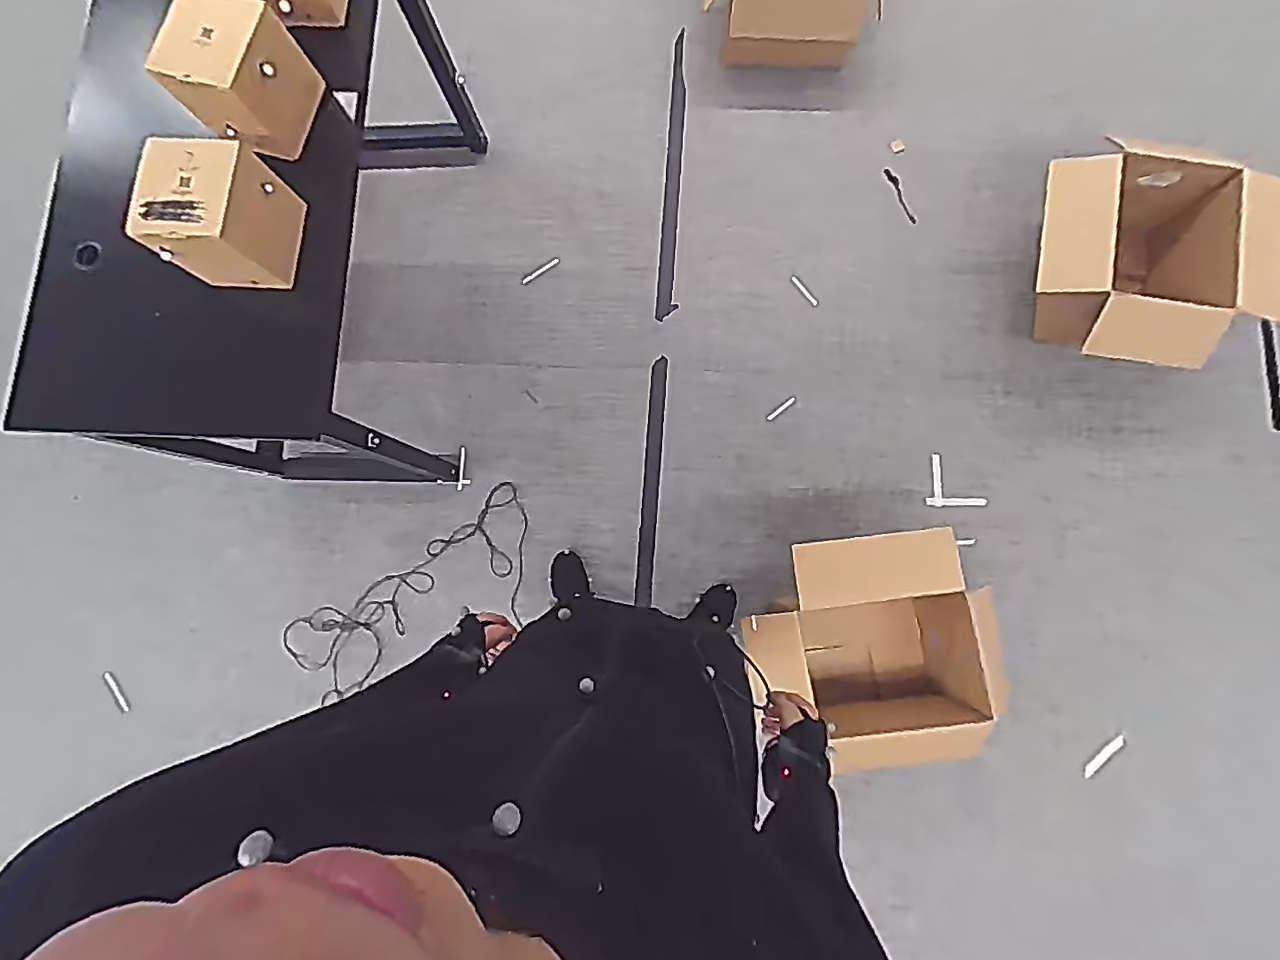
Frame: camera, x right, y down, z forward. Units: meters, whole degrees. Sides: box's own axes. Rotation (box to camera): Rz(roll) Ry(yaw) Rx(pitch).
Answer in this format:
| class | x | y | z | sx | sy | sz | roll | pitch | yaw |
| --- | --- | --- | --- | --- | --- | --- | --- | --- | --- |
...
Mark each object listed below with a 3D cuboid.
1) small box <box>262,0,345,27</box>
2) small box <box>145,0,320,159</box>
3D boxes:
| class | x | y | z | sx | sy | sz | roll | pitch | yaw |
| --- | --- | --- | --- | --- | --- | --- | --- | --- | --- |
| small box | -0.675 | -1.011 | 1.019 | 0.168 | 0.176 | 0.179 | 4 | 84 | 5 |
| small box | -0.727 | -0.737 | 0.989 | 0.168 | 0.176 | 0.179 | 15 | 84 | 6 |
